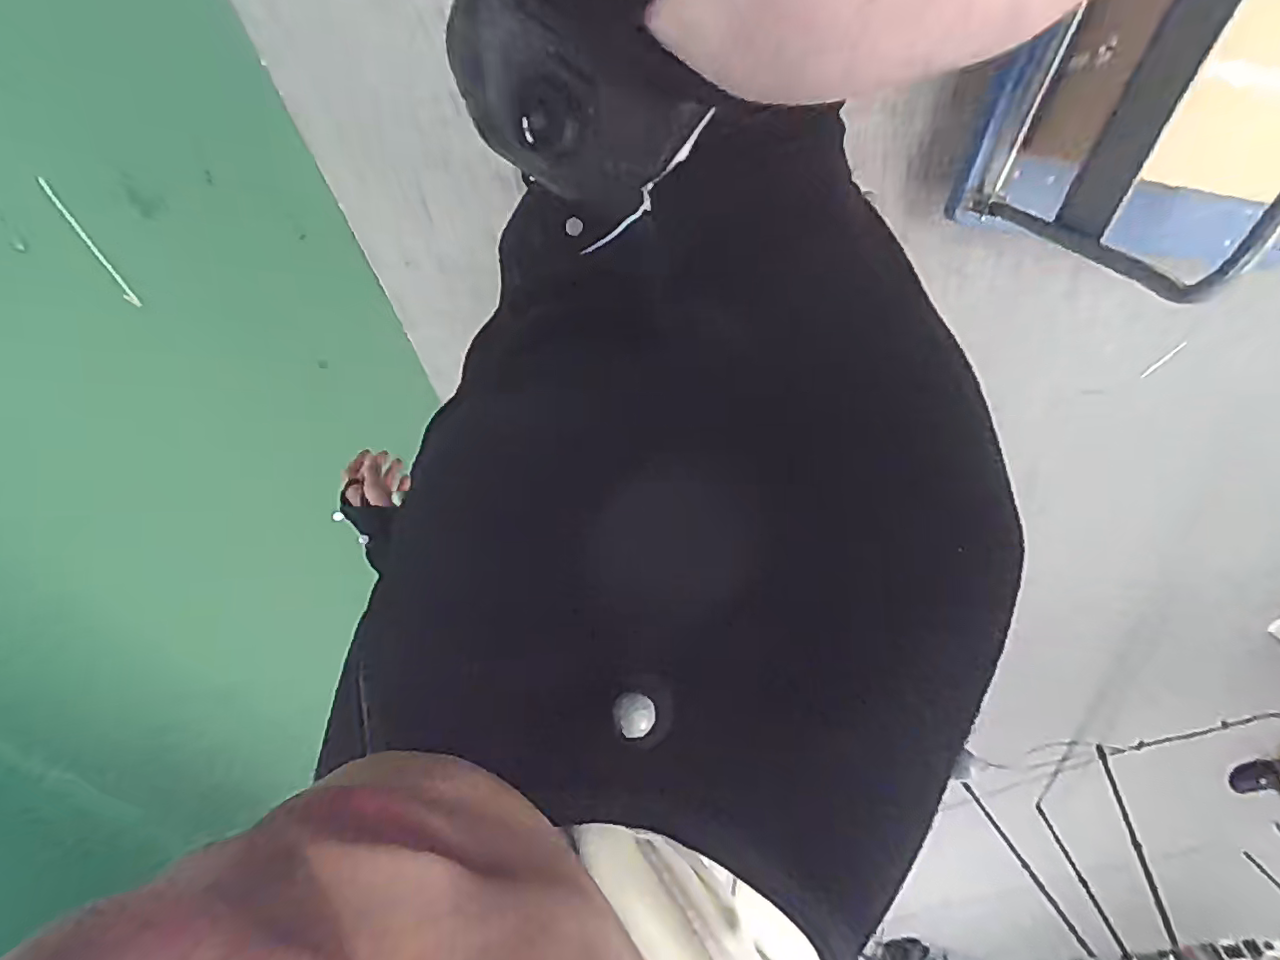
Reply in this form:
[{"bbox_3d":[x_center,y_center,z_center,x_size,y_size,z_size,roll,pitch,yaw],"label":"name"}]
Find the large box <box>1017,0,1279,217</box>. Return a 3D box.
[{"bbox_3d":[1.035,-0.703,0.994,0.408,0.320,0.320,6,127,-7],"label":"large box"}]
